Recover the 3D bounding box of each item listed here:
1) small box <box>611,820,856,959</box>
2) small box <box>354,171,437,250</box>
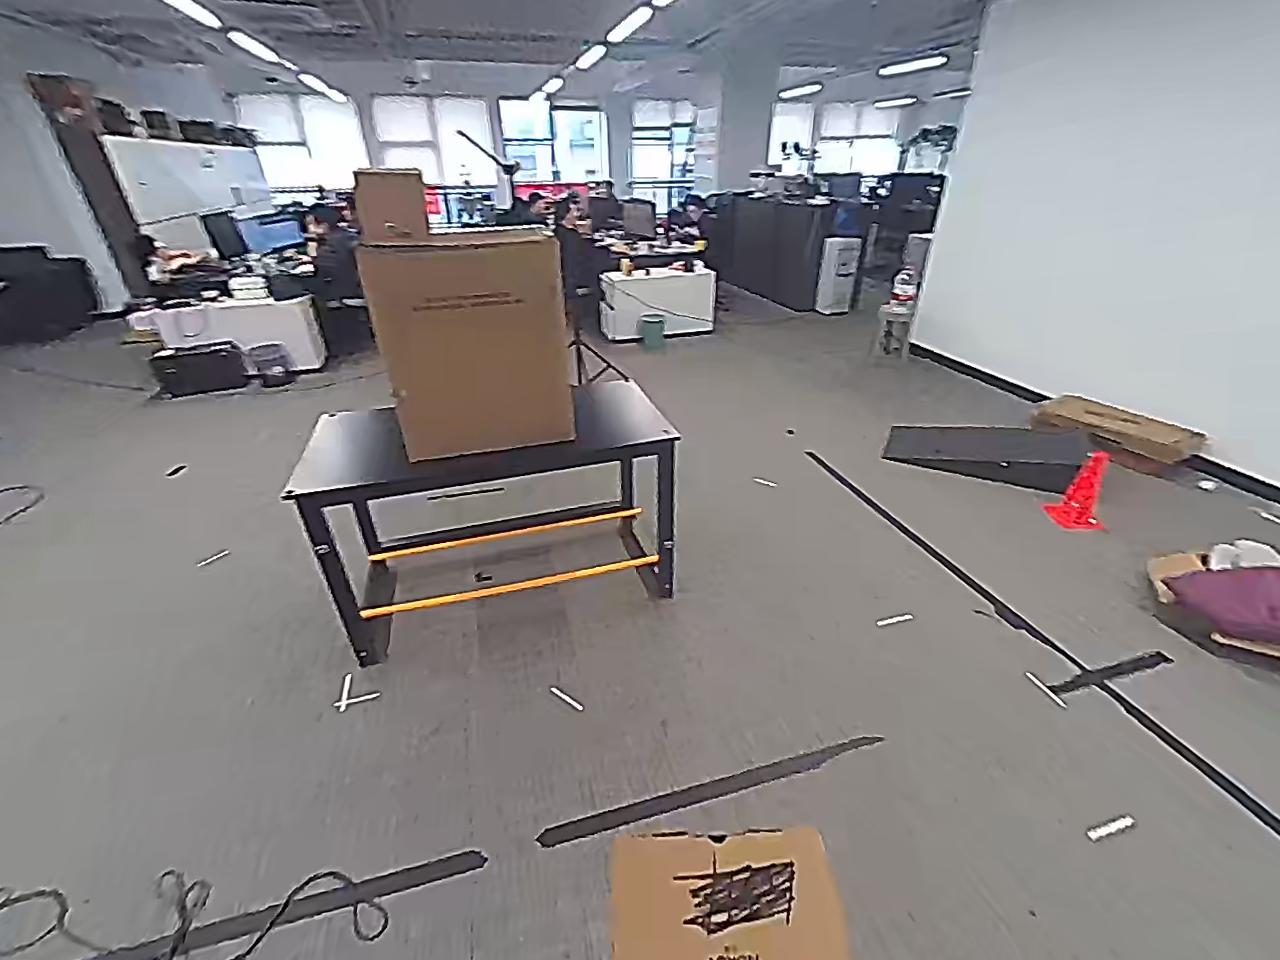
[{"bbox_3d":[0.062,0.387,0.410,0.168,0.176,0.179,-1,42,-3],"label":"small box"},{"bbox_3d":[-0.632,-0.708,1.417,0.168,0.176,0.179,-9,34,-17],"label":"small box"}]
